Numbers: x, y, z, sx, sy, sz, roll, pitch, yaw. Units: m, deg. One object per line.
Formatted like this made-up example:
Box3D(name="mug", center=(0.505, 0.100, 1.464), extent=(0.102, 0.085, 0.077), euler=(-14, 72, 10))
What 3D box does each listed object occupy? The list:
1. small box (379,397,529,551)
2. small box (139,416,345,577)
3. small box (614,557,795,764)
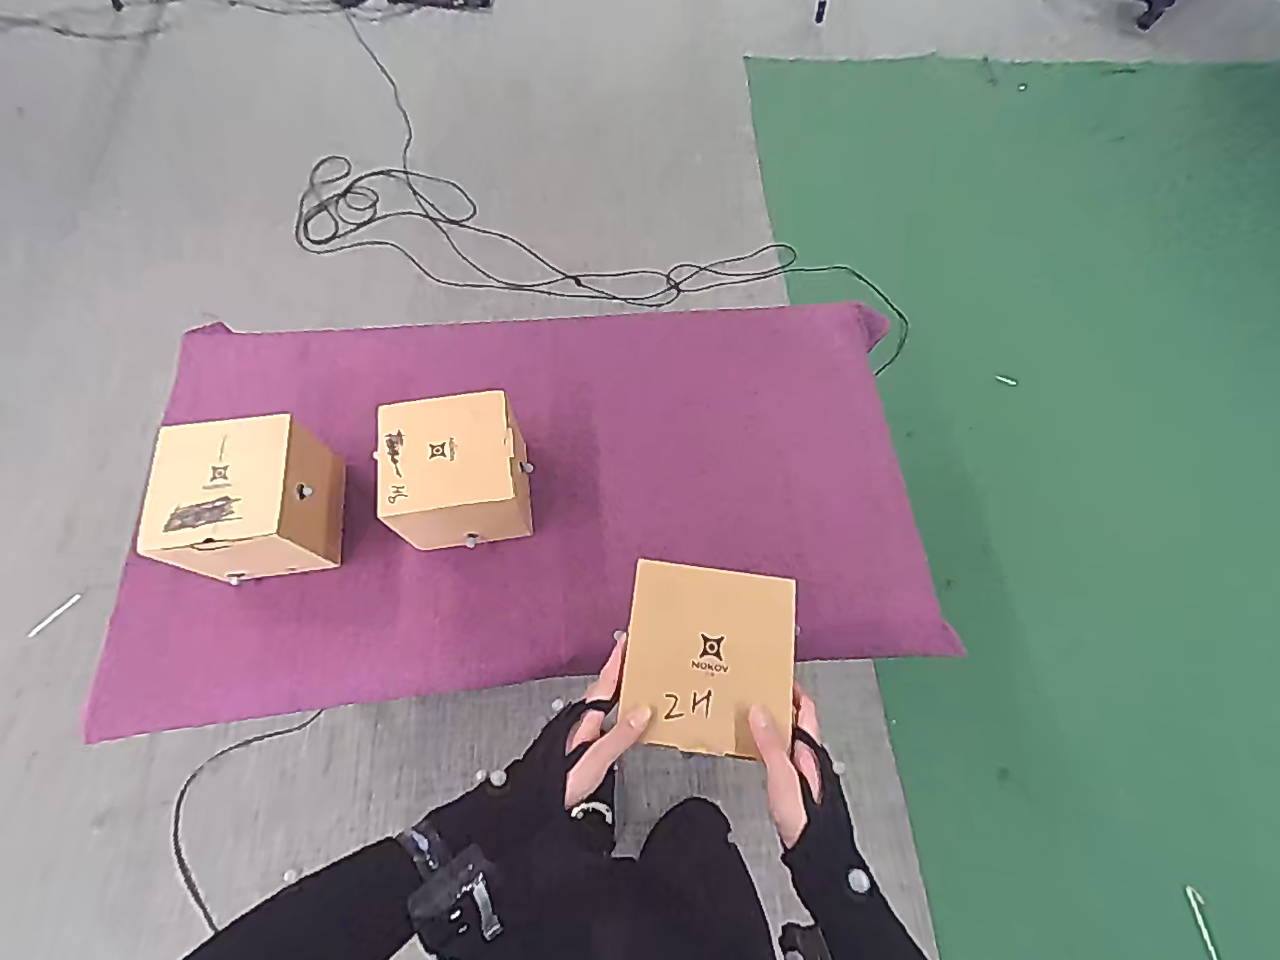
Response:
Box3D(name="small box", center=(-0.260, -0.002, 0.793), extent=(0.179, 0.176, 0.168), euler=(-7, 68, -6))
Box3D(name="small box", center=(-0.540, 0.033, 0.764), extent=(0.168, 0.176, 0.179), euler=(-7, 67, -6))
Box3D(name="small box", center=(0.066, 0.199, 0.605), extent=(0.168, 0.176, 0.179), euler=(8, 70, 2))
